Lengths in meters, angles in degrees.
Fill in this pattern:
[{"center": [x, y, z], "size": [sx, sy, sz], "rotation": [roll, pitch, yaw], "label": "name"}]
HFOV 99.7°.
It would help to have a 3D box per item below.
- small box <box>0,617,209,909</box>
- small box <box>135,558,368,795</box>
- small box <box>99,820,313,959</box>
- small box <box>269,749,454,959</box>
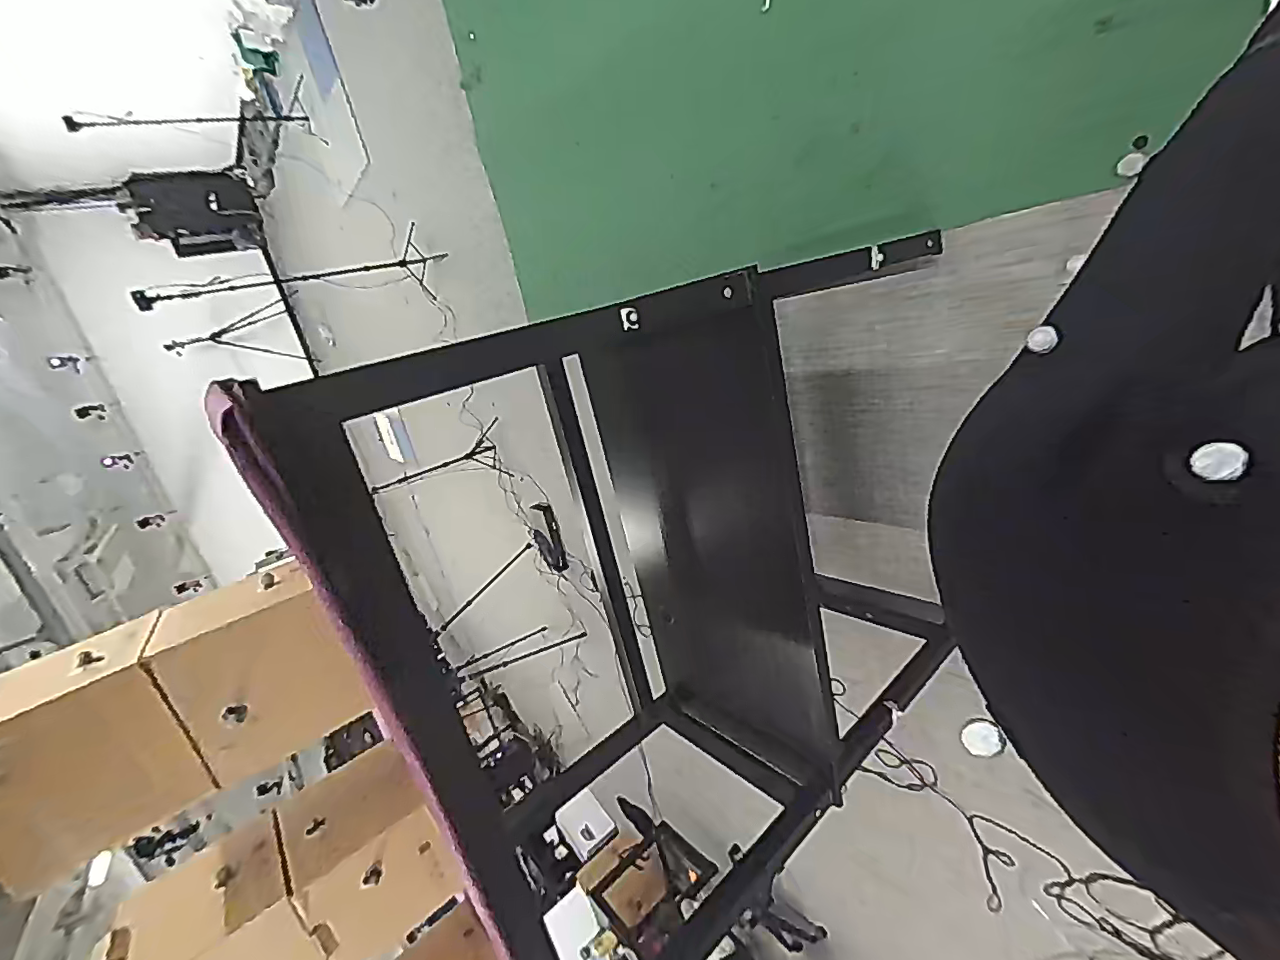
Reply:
[{"center": [-0.582, 0.279, 0.576], "size": [0.168, 0.176, 0.179], "rotation": [10, 119, 54], "label": "small box"}, {"center": [-0.453, 0.221, 0.656], "size": [0.168, 0.176, 0.179], "rotation": [10, 118, 54], "label": "small box"}, {"center": [-0.500, 0.569, 0.649], "size": [0.168, 0.176, 0.179], "rotation": [11, 118, 50], "label": "small box"}, {"center": [-0.374, 0.512, 0.739], "size": [0.179, 0.176, 0.168], "rotation": [11, 118, 52], "label": "small box"}]
